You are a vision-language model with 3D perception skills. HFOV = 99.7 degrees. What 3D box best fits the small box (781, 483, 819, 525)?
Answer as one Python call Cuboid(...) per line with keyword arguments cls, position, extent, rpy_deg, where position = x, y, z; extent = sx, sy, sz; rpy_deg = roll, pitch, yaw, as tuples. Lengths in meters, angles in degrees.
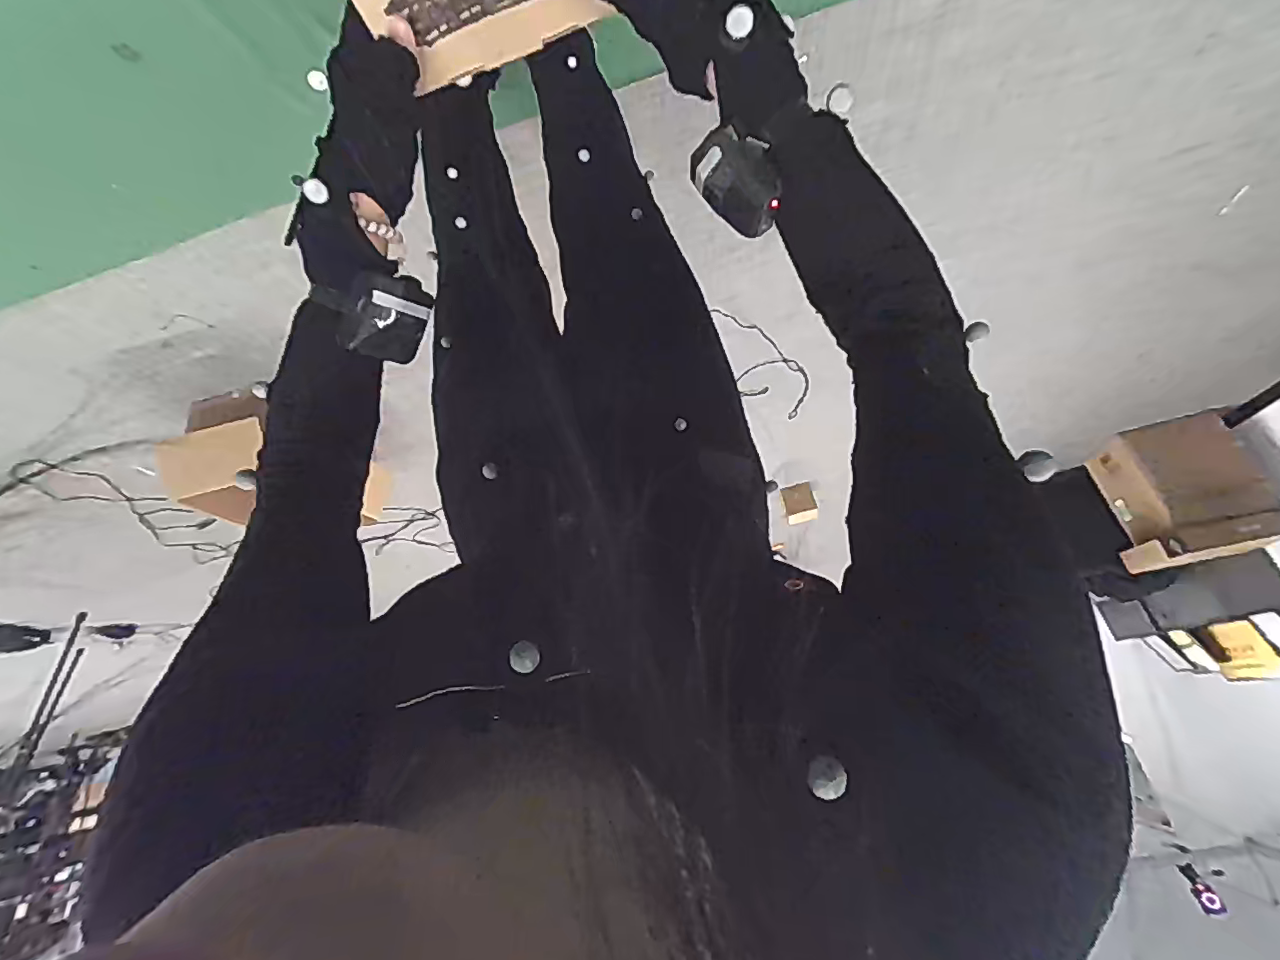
Cuboid(cls="small box", position=(0.897, 0.132, 3.040), extent=(0.168, 0.176, 0.179), rpy_deg=(-16, 155, 9))
